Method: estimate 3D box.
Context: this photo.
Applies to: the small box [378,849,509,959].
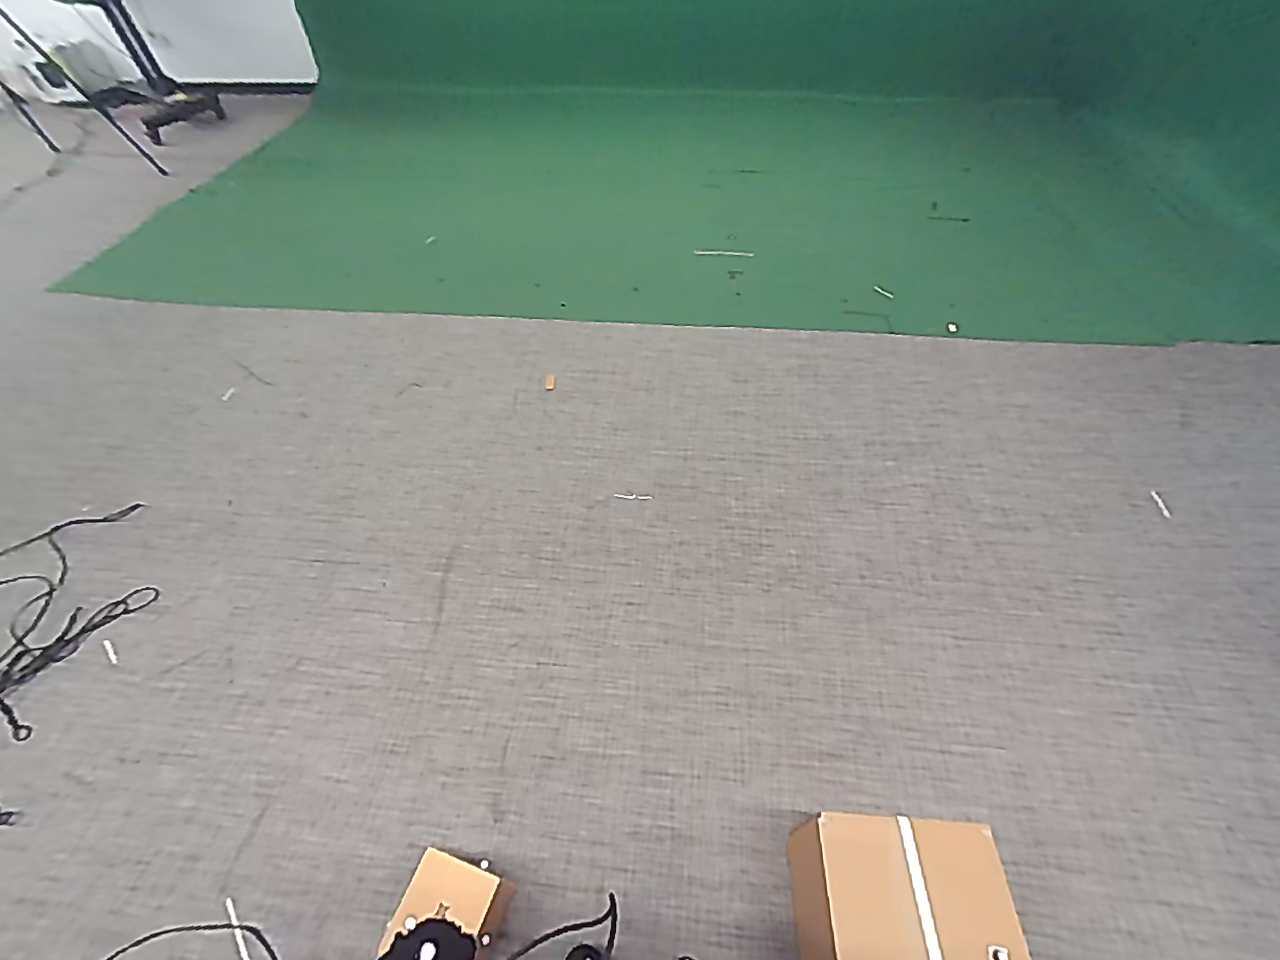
[{"bbox_3d":[-0.379,0.877,1.085,0.168,0.176,0.179,14,53,12],"label":"small box"}]
